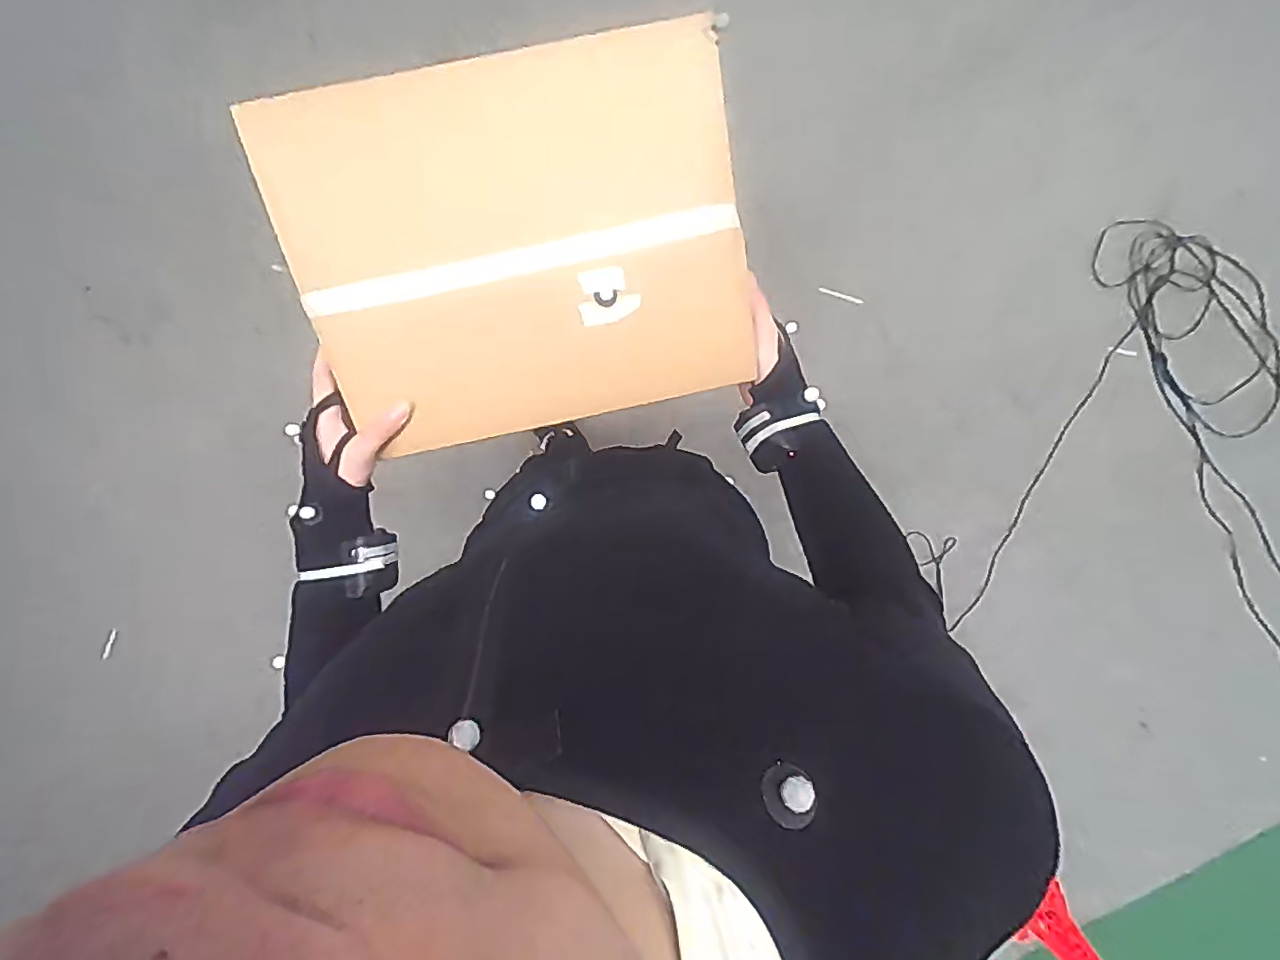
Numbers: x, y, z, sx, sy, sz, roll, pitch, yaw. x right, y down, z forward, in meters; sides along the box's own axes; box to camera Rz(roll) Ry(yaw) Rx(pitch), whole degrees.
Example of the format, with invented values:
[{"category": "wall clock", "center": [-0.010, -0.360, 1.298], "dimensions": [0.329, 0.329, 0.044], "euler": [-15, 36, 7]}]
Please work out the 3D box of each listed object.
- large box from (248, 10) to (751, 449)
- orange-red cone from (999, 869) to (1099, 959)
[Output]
[{"category": "large box", "center": [-0.124, -0.262, 0.644], "dimensions": [0.408, 0.320, 0.320], "euler": [-13, 110, -2]}, {"category": "orange-red cone", "center": [1.302, 1.405, 1.611], "dimensions": [0.199, 0.360, 0.198], "euler": [-20, 96, -2]}]
